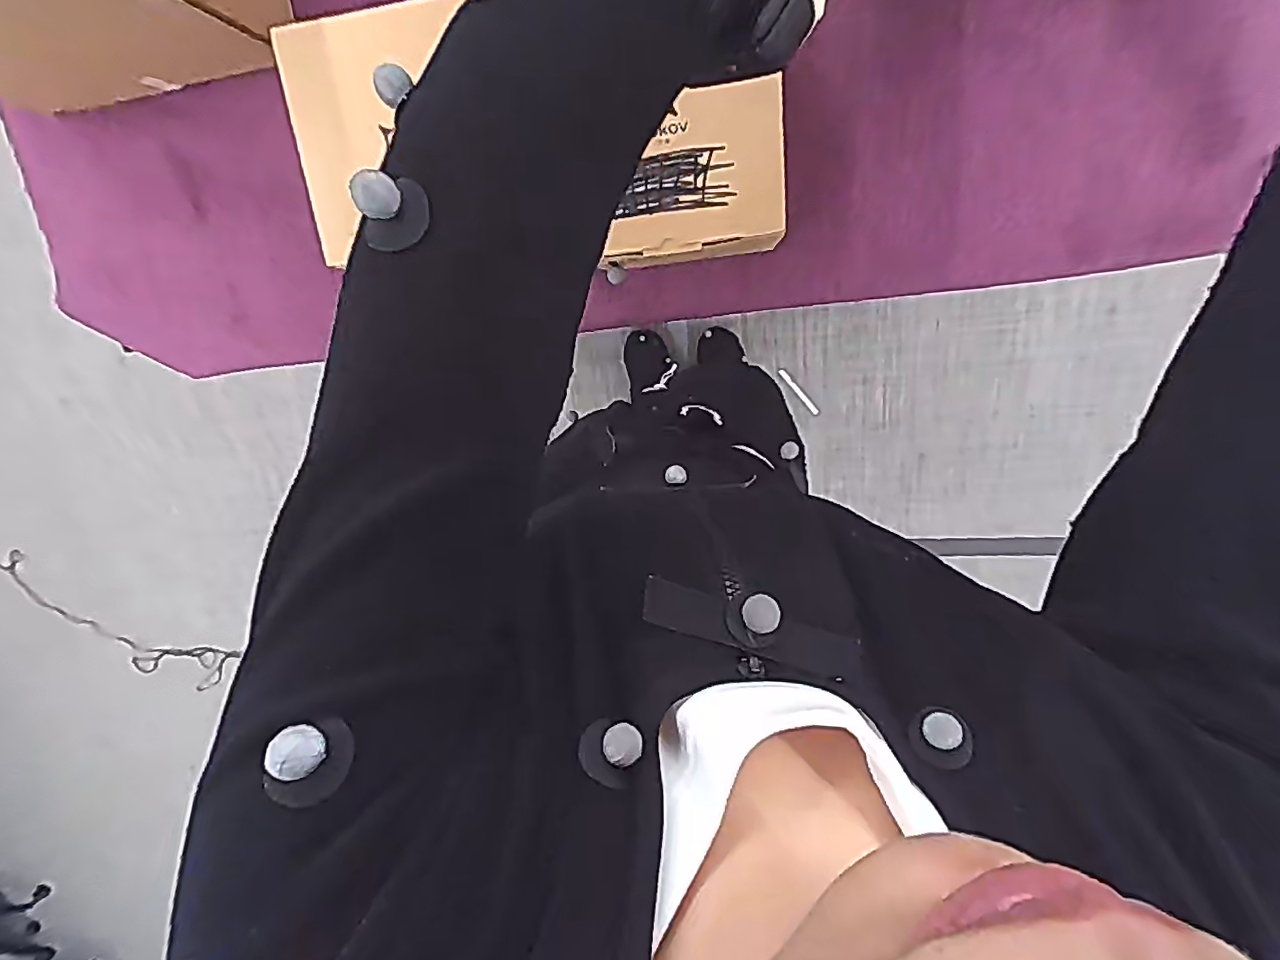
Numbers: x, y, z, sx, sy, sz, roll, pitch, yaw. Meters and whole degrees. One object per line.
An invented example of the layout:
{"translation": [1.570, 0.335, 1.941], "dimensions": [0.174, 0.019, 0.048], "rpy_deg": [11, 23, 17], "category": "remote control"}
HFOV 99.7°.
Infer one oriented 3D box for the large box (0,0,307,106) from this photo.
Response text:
{"translation": [-0.525, -0.551, 0.366], "dimensions": [0.320, 0.320, 0.408], "rpy_deg": [-5, 111, 10], "category": "large box"}
